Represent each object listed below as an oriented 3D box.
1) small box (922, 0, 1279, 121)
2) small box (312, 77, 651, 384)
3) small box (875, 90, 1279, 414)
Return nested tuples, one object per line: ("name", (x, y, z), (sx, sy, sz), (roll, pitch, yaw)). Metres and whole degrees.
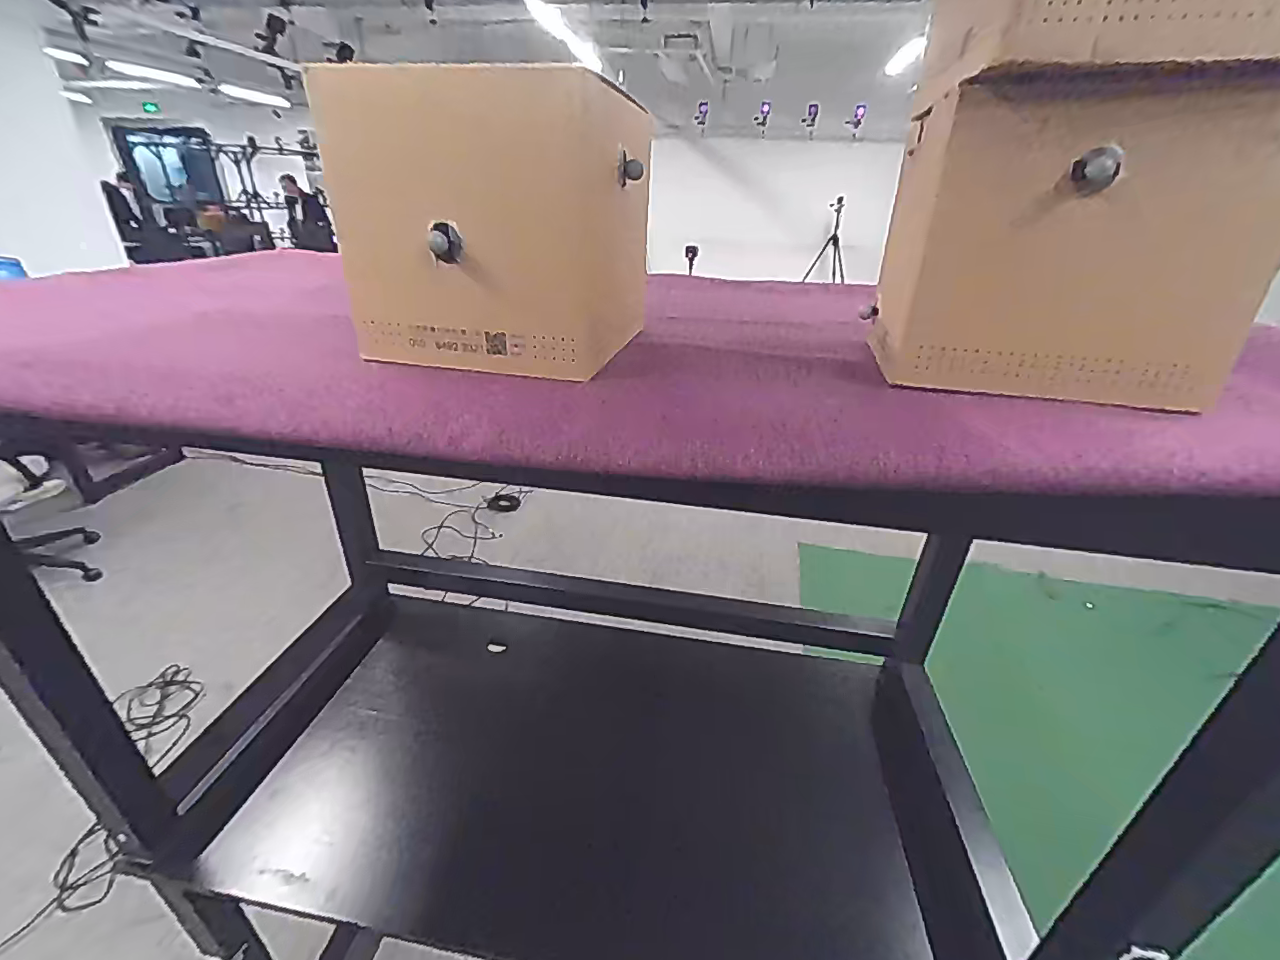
("small box", (0.271, -0.291, 0.289), (0.179, 0.176, 0.168), (7, 26, 9))
("small box", (-0.090, -0.178, 0.397), (0.168, 0.176, 0.179), (8, 28, 9))
("small box", (0.271, -0.151, 0.373), (0.179, 0.176, 0.168), (9, 27, 13))
